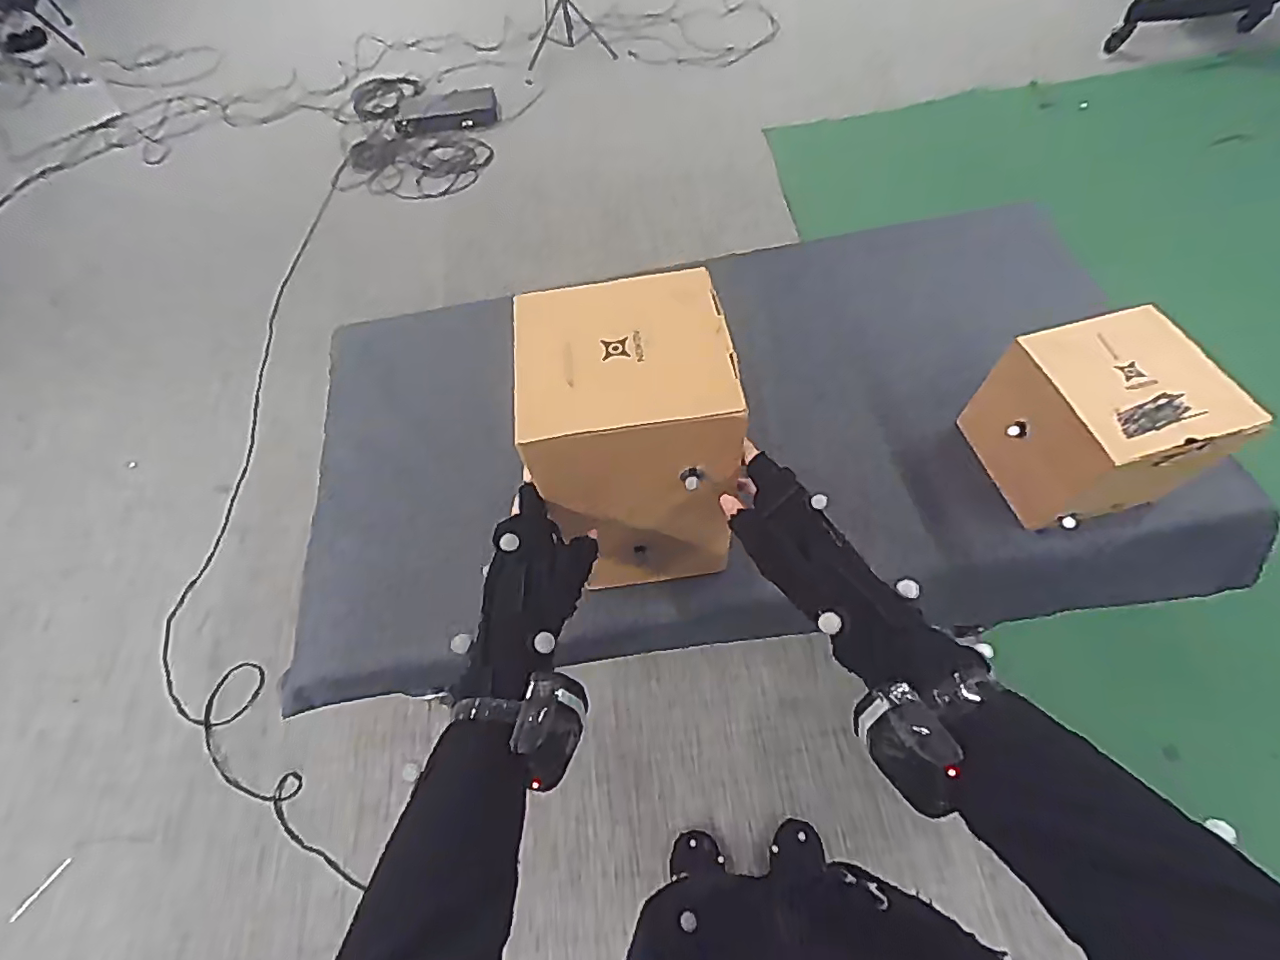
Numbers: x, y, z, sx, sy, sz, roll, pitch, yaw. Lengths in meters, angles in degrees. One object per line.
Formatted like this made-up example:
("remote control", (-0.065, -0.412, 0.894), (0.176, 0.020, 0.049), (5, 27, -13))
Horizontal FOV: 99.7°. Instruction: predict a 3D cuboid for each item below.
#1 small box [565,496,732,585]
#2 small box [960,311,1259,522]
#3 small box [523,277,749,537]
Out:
("small box", (0.010, 0.017, 0.660), (0.179, 0.176, 0.168), (-8, 59, 2))
("small box", (0.529, -0.064, 0.647), (0.168, 0.176, 0.179), (-14, 59, -1))
("small box", (-0.005, -0.061, 0.518), (0.179, 0.176, 0.168), (-9, 58, 2))
